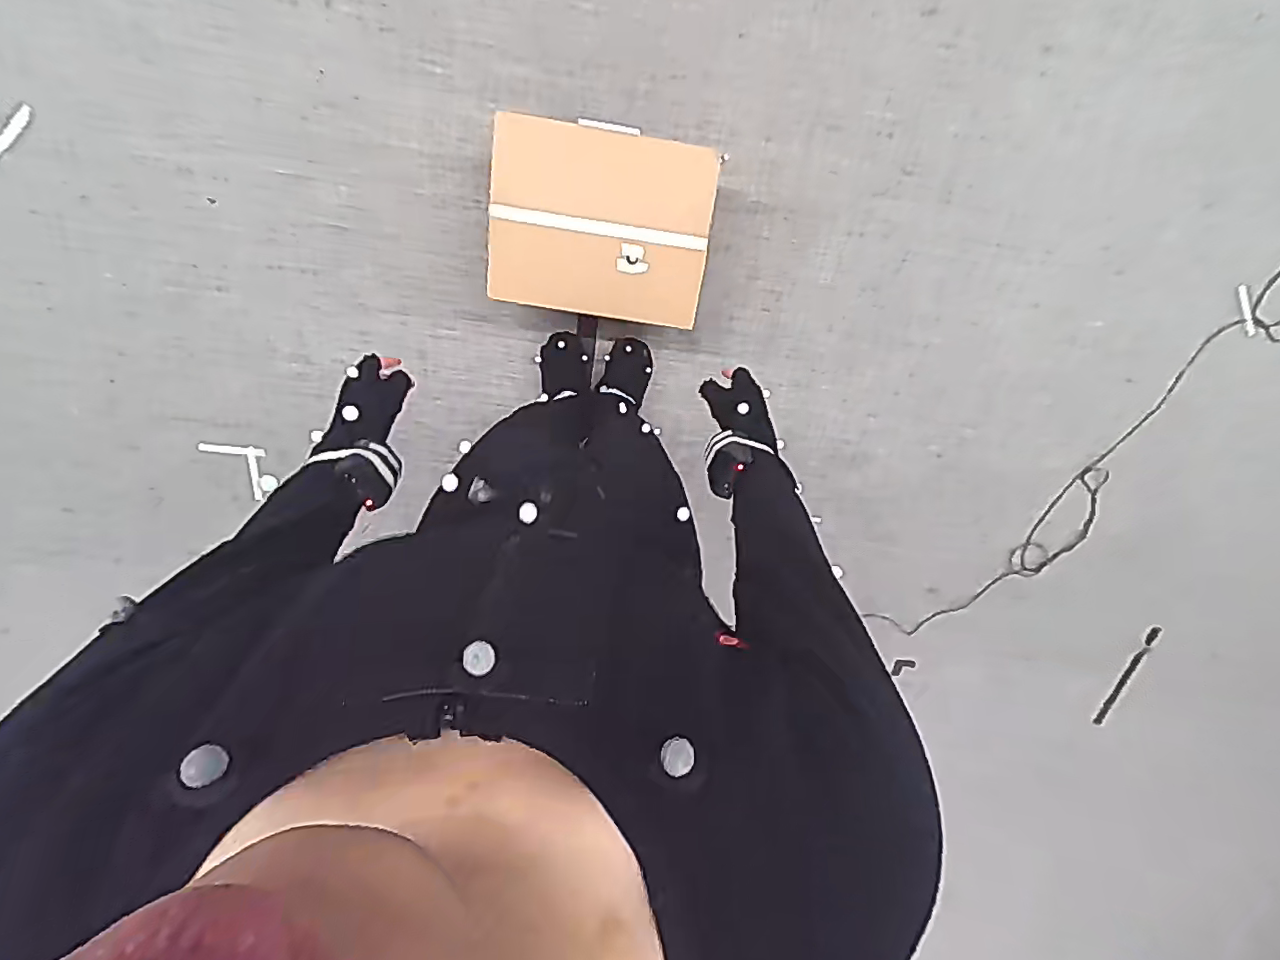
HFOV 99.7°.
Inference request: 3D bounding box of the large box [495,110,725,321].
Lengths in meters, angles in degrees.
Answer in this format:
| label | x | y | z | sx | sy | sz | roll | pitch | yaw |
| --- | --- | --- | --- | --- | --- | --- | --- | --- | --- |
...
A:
| label | x | y | z | sx | sy | sz | roll | pitch | yaw |
| --- | --- | --- | --- | --- | --- | --- | --- | --- | --- |
| large box | -0.069 | -0.528 | 1.133 | 0.408 | 0.320 | 0.320 | 7 | 112 | -4 |
